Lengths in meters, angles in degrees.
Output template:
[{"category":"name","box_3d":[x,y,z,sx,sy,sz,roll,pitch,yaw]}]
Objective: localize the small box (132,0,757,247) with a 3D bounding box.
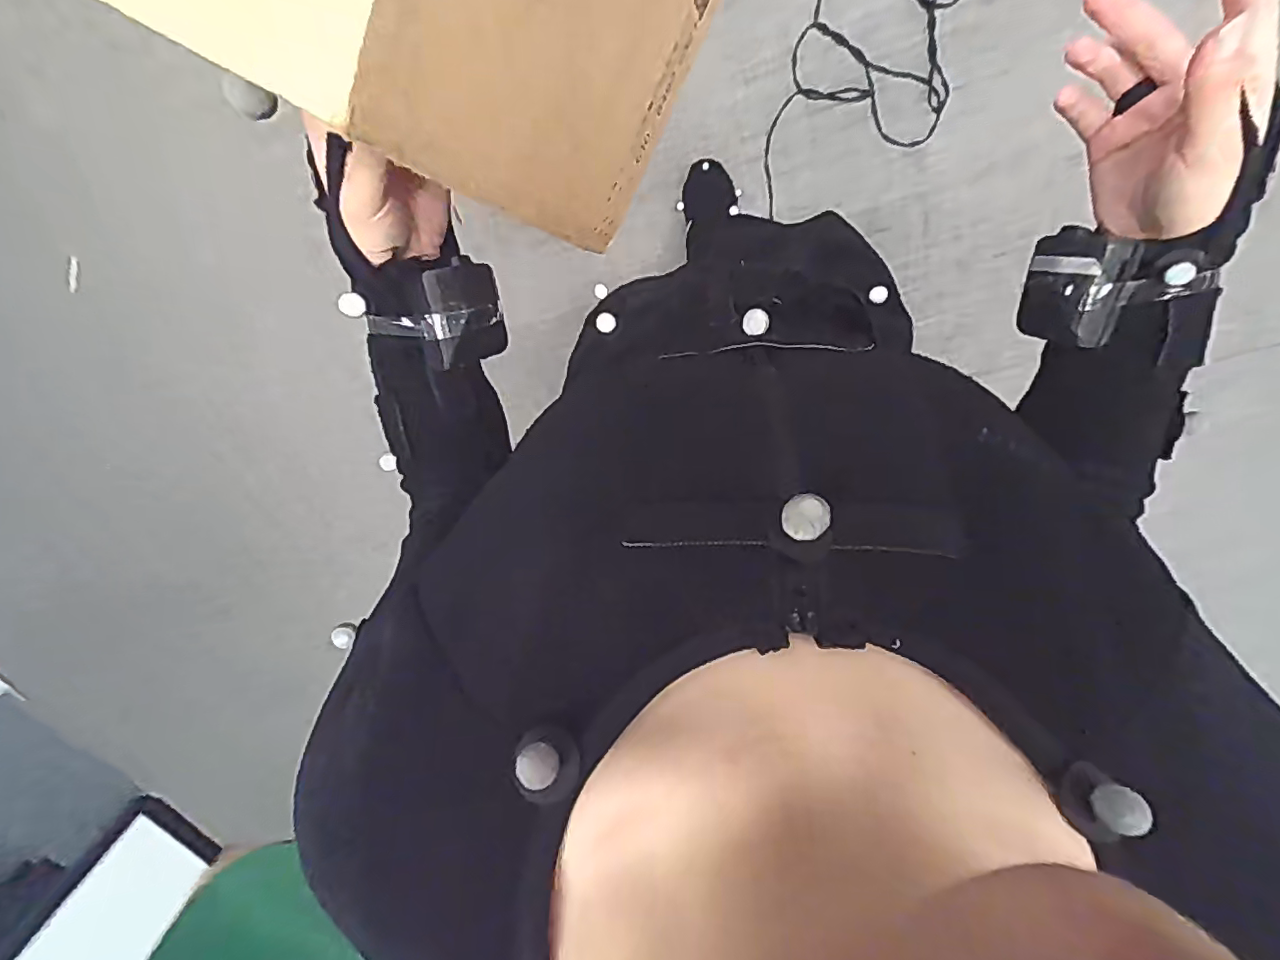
[{"category":"small box","box_3d":[-0.065,-0.199,0.177,0.179,0.176,0.168,31,110,7]}]
